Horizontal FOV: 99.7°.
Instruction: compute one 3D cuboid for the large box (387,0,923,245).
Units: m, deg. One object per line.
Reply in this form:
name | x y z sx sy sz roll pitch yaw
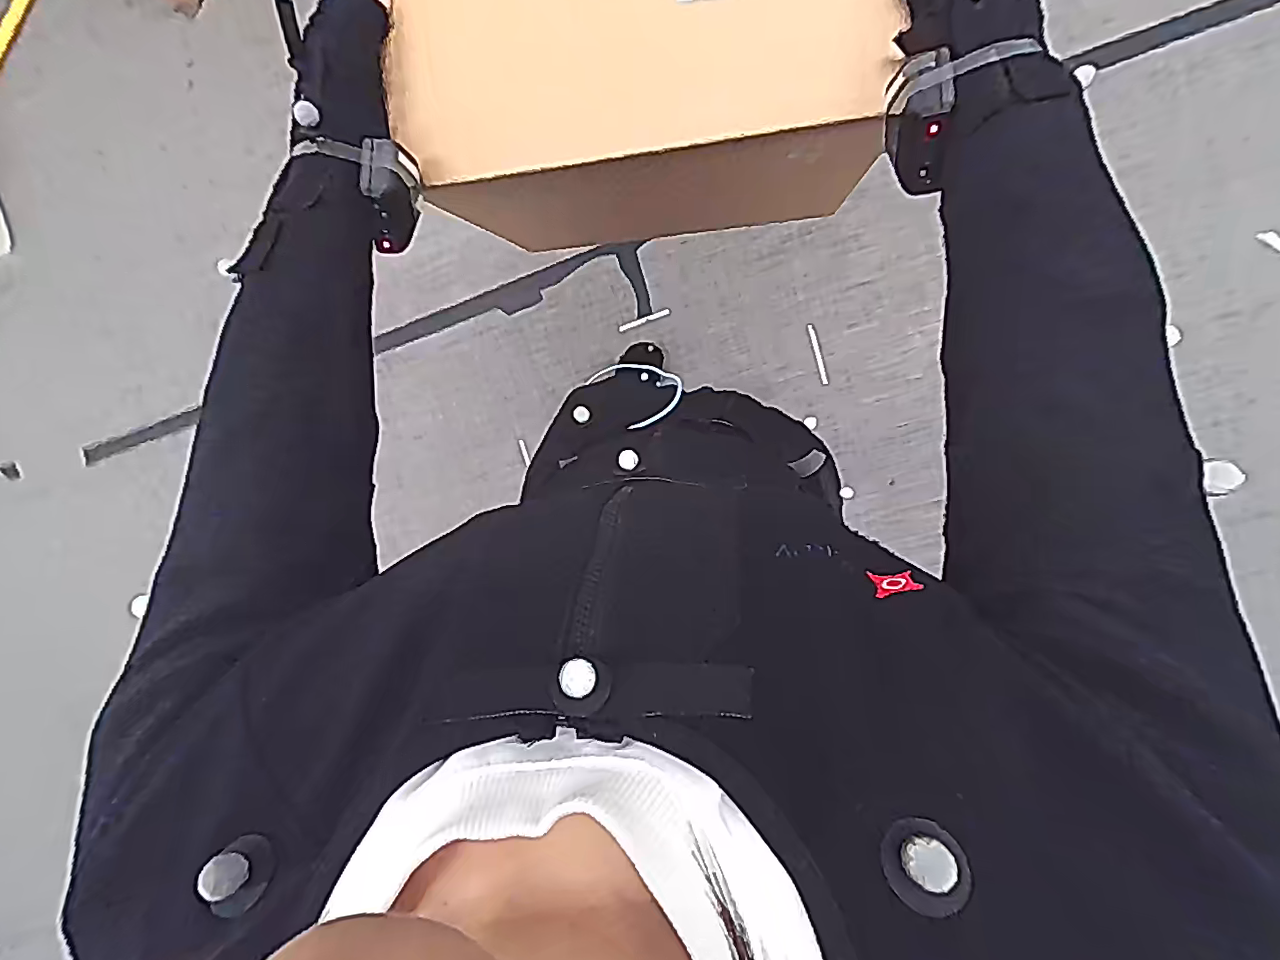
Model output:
large box | 0.014 -0.447 0.534 0.408 0.320 0.320 -3 103 9
